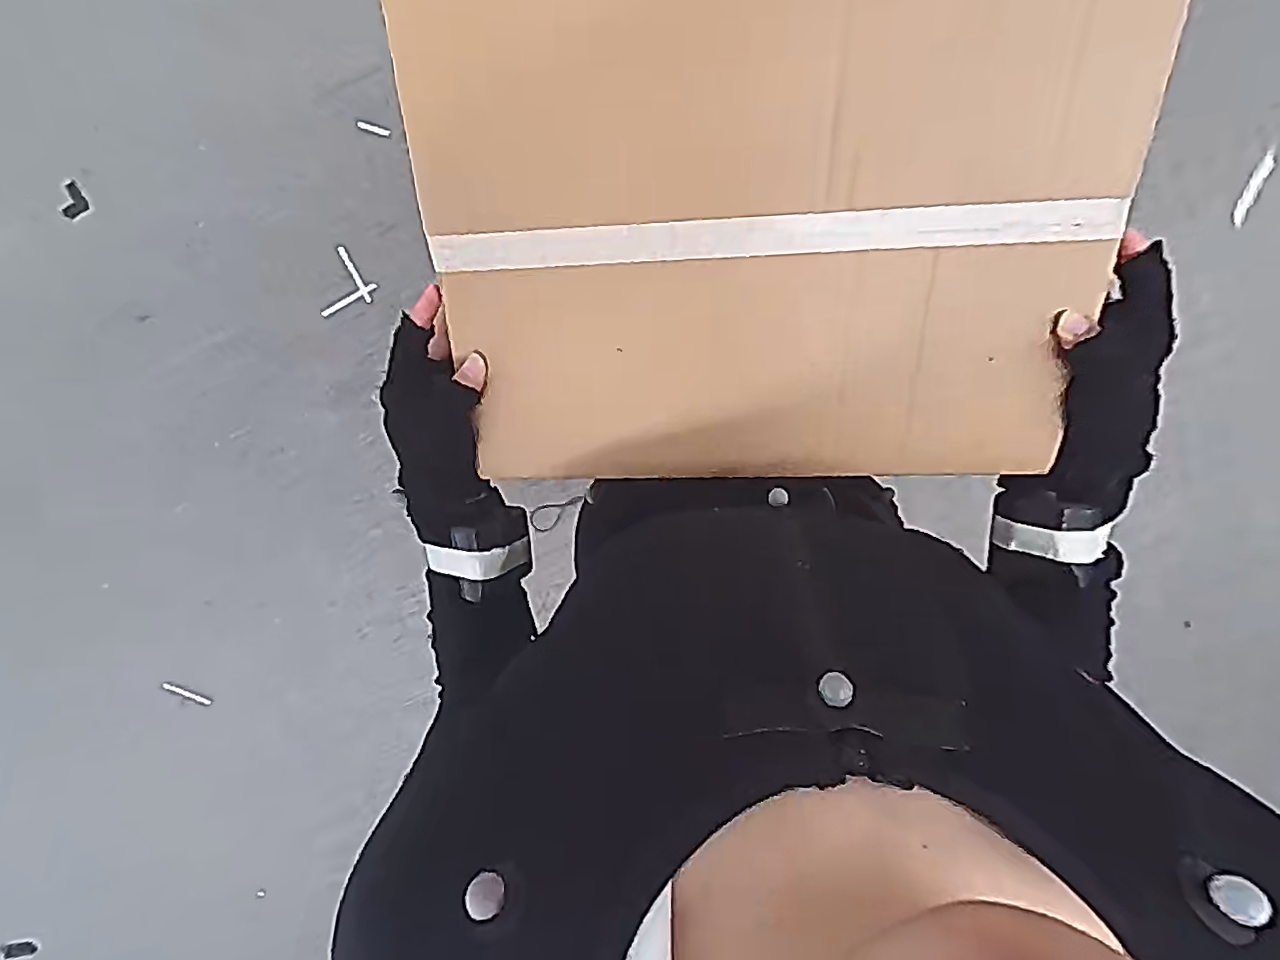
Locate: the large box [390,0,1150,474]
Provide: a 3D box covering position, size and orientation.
[{"bbox_3d":[0.077,-0.211,0.469,0.408,0.320,0.320,-1,116,5],"label":"large box"}]
